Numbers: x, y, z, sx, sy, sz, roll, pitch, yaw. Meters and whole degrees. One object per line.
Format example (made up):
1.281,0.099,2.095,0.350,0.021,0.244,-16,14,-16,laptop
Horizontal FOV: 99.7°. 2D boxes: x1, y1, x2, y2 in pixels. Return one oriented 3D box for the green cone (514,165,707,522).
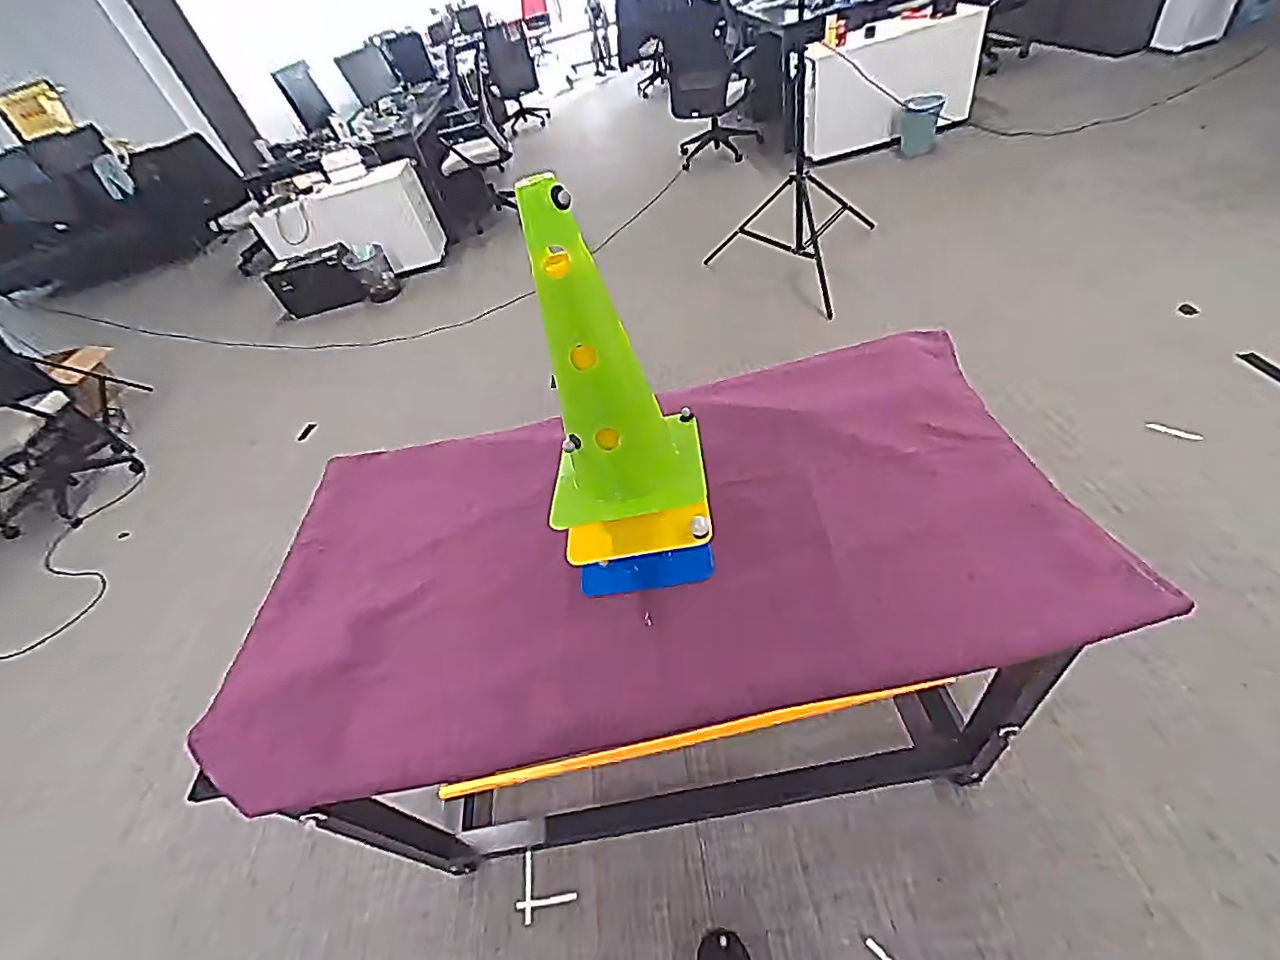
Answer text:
-0.059,-0.155,0.619,0.200,0.368,0.202,-12,38,8,green cone
